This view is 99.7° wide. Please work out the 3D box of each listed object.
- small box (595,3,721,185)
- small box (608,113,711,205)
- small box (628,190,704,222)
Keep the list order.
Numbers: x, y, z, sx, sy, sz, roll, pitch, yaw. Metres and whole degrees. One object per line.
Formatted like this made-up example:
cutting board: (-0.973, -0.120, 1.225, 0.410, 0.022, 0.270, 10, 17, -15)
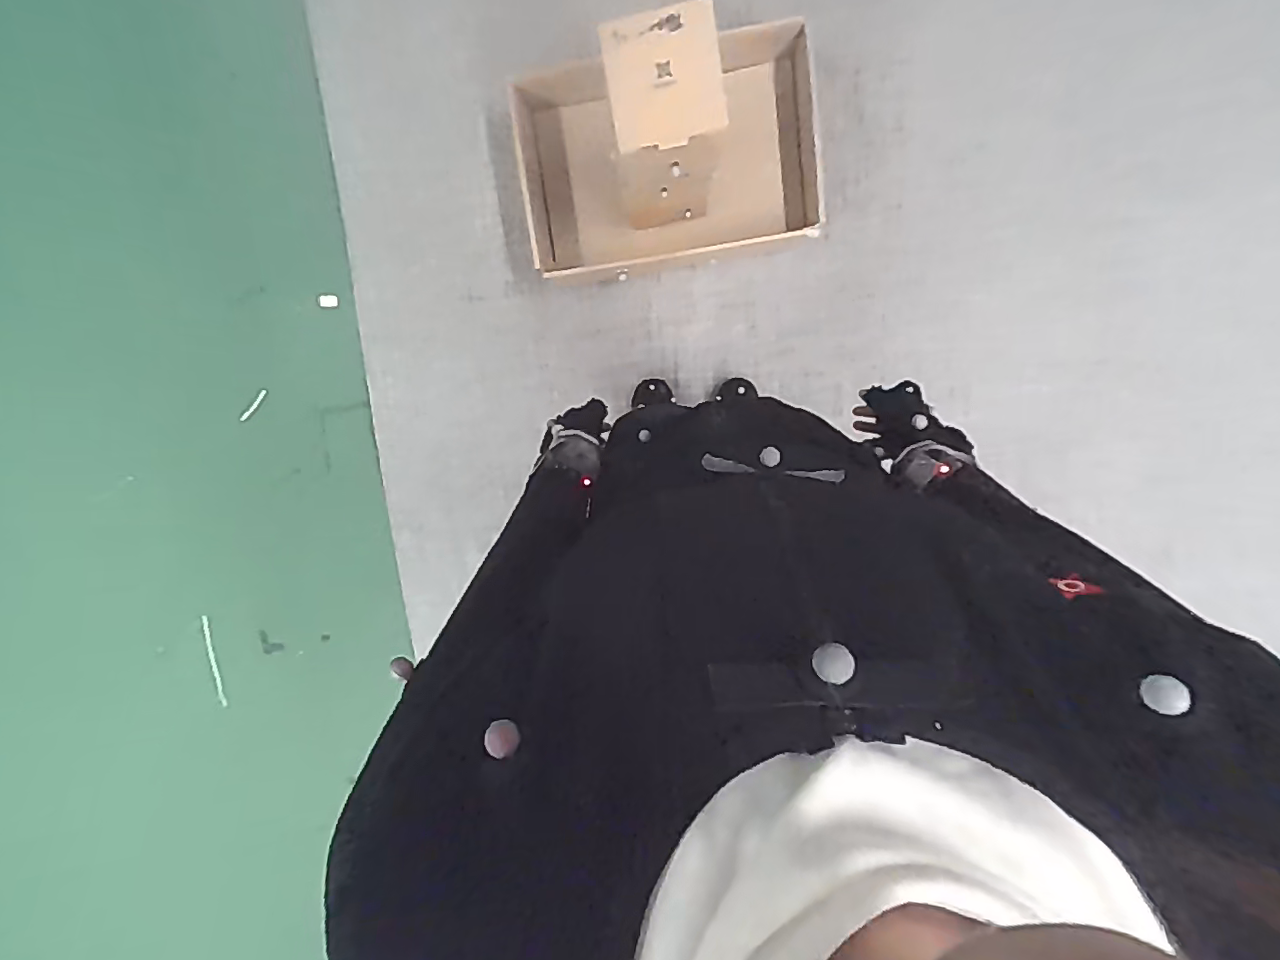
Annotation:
small box: (0.037, -0.604, 0.878, 0.168, 0.176, 0.179, -10, 100, 8)
small box: (0.039, -0.643, 1.035, 0.179, 0.176, 0.168, -5, 101, 6)
small box: (0.050, -0.678, 1.178, 0.168, 0.176, 0.179, -7, 100, 6)
